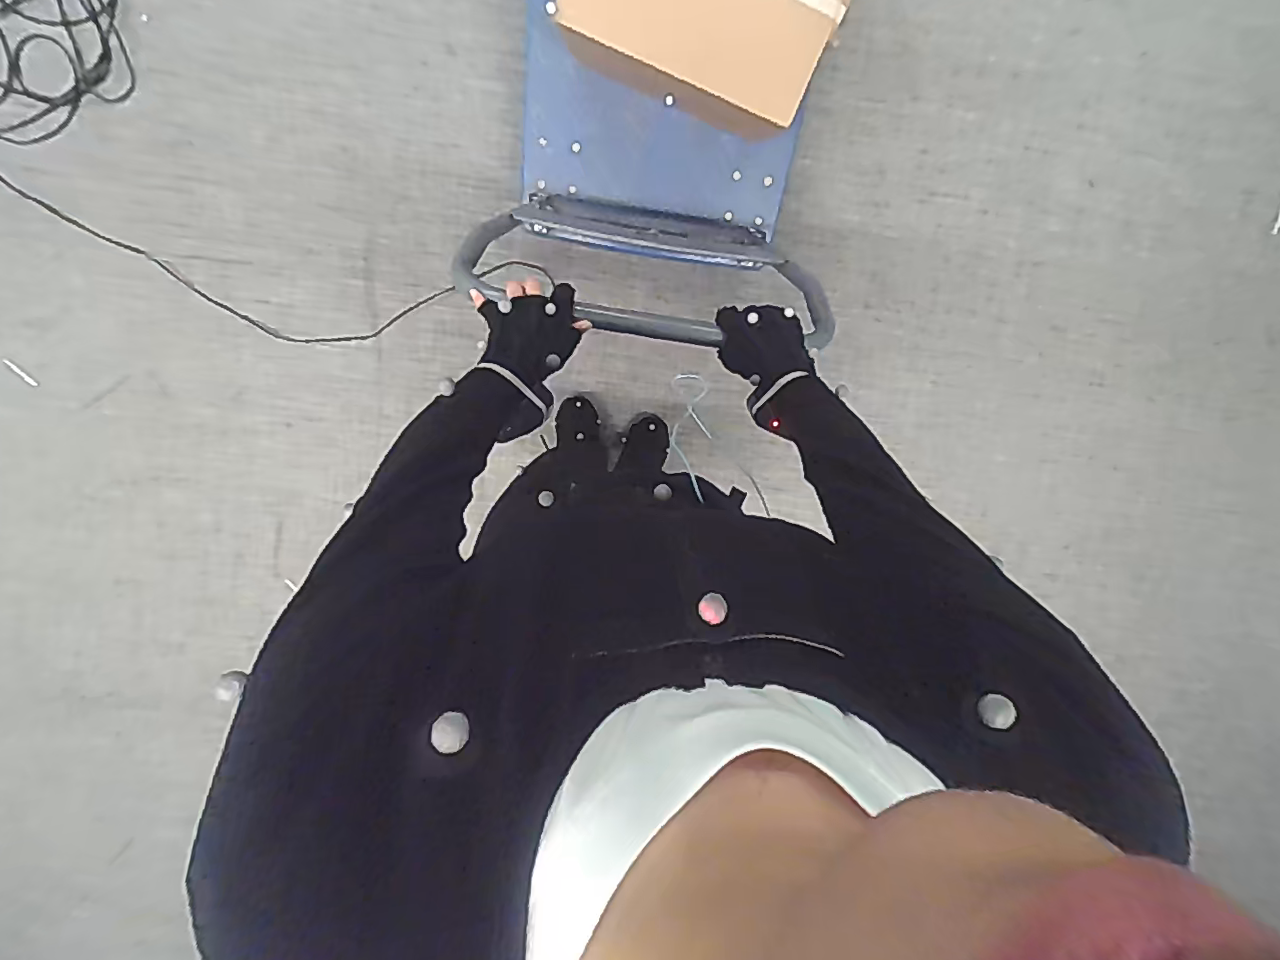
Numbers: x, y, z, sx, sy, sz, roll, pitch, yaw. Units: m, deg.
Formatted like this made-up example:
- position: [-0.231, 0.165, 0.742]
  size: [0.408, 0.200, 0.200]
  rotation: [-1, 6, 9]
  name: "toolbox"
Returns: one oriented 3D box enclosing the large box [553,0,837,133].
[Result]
- position: [0.110, -0.837, 0.914]
  size: [0.408, 0.320, 0.320]
  rotation: [19, 117, -8]
  name: "large box"
